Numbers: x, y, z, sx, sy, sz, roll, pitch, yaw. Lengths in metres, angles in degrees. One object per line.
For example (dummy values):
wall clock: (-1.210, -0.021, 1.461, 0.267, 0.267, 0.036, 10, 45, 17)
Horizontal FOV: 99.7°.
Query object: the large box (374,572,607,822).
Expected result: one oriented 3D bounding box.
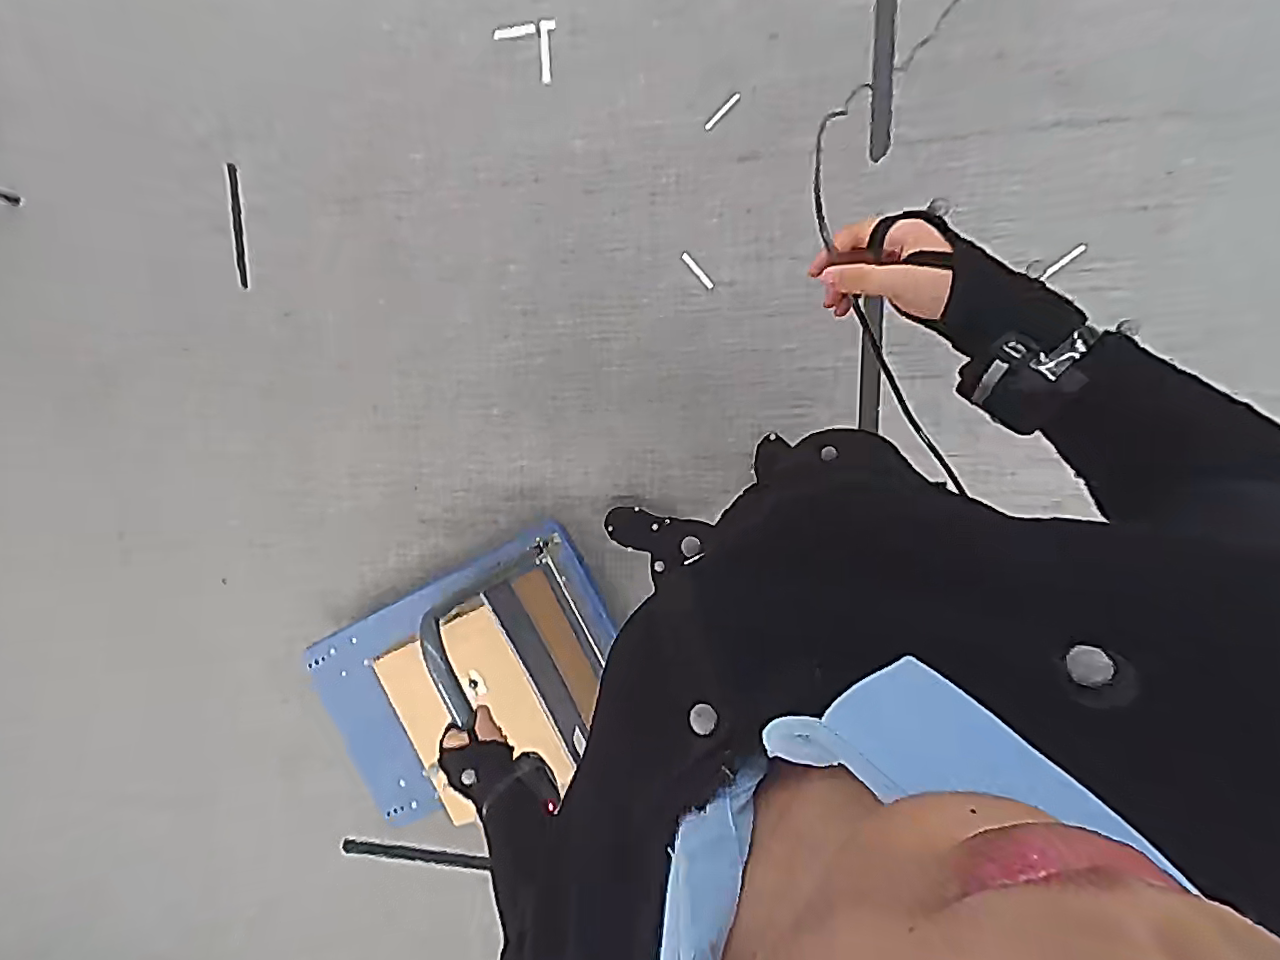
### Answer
large box: (-0.329, 0.490, 1.288, 0.320, 0.320, 0.408, -27, 90, 10)
